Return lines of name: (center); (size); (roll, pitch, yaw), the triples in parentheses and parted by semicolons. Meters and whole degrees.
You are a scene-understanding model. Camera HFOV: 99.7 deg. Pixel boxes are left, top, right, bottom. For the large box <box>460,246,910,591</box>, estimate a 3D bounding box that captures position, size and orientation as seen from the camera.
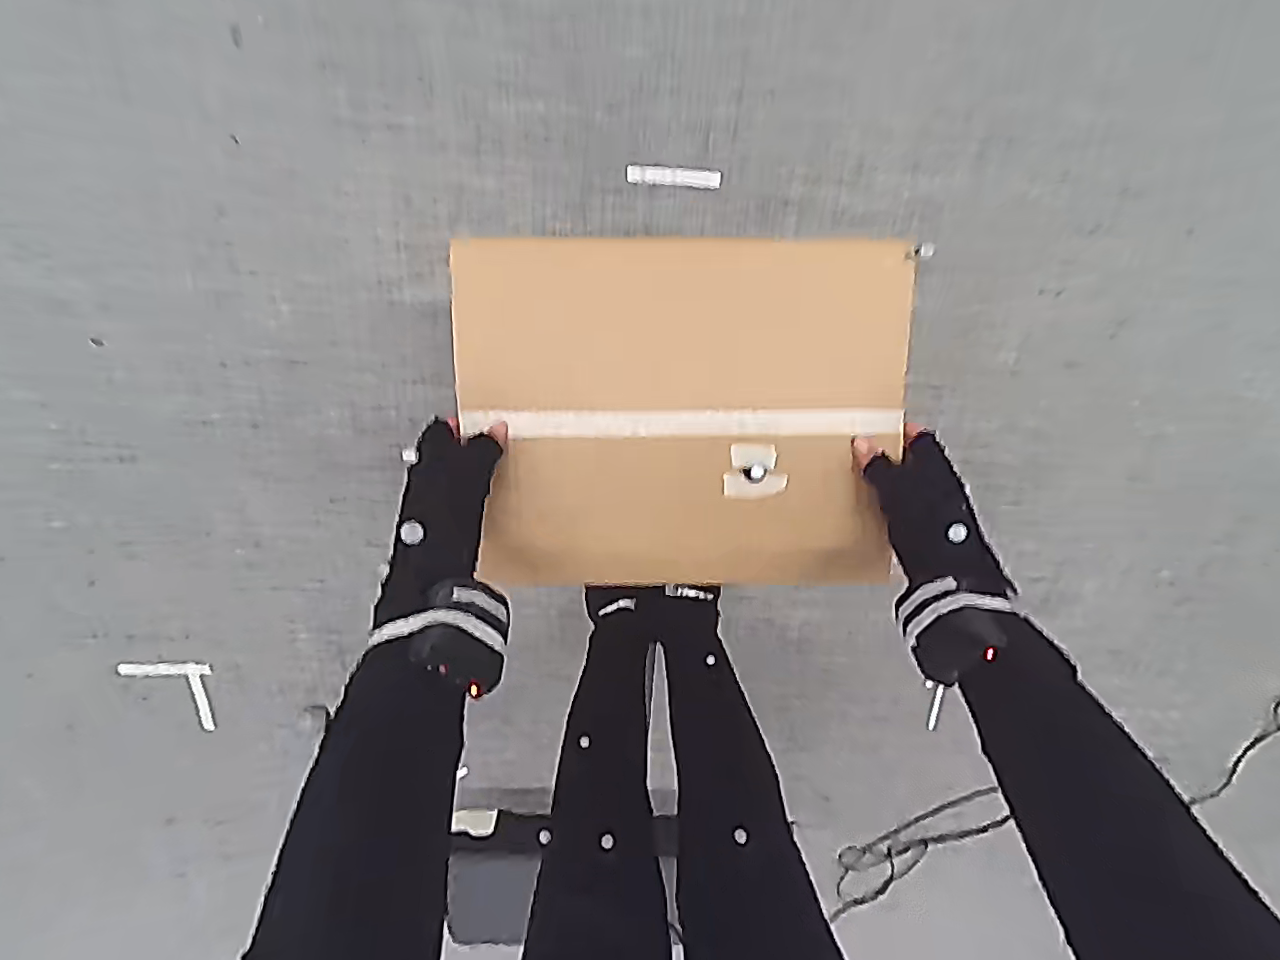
large box: (0.039, -0.073, 0.643); (0.408, 0.320, 0.320); (-1, 100, -1)
